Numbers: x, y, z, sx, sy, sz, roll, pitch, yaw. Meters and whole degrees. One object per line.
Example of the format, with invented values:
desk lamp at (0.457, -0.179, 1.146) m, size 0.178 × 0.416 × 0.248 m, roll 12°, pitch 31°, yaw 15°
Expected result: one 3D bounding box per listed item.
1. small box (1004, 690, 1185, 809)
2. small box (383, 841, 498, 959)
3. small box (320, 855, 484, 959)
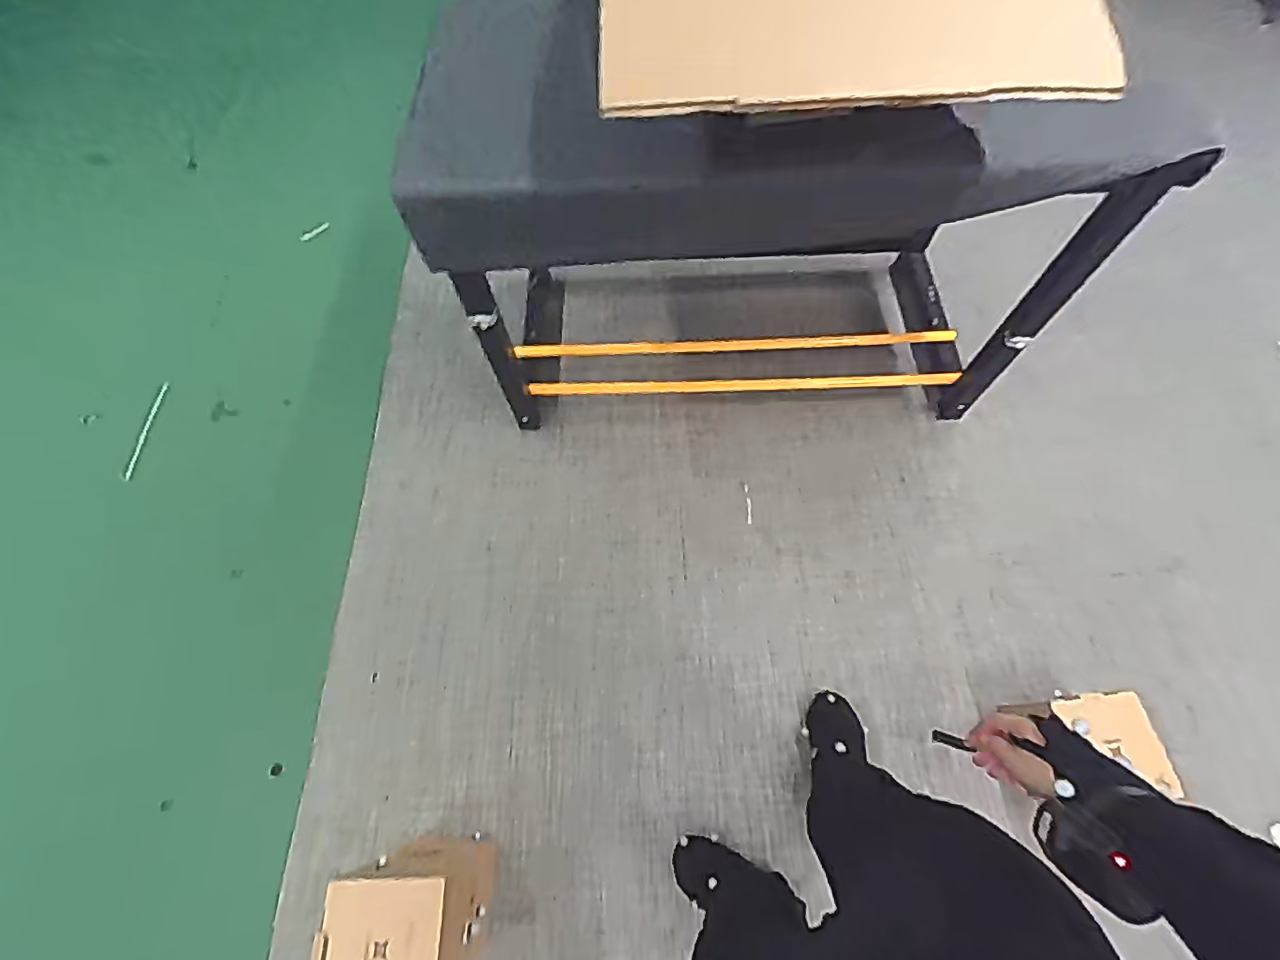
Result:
small box at (0.844, 0.511, 1.029) m, size 0.168 × 0.176 × 0.179 m, roll -8°, pitch 63°, yaw -1°
small box at (-0.361, 0.761, 0.967) m, size 0.168 × 0.176 × 0.179 m, roll -1°, pitch 65°, yaw 3°
small box at (-0.354, 0.686, 0.822) m, size 0.179 × 0.176 × 0.168 m, roll -3°, pitch 66°, yaw 1°
